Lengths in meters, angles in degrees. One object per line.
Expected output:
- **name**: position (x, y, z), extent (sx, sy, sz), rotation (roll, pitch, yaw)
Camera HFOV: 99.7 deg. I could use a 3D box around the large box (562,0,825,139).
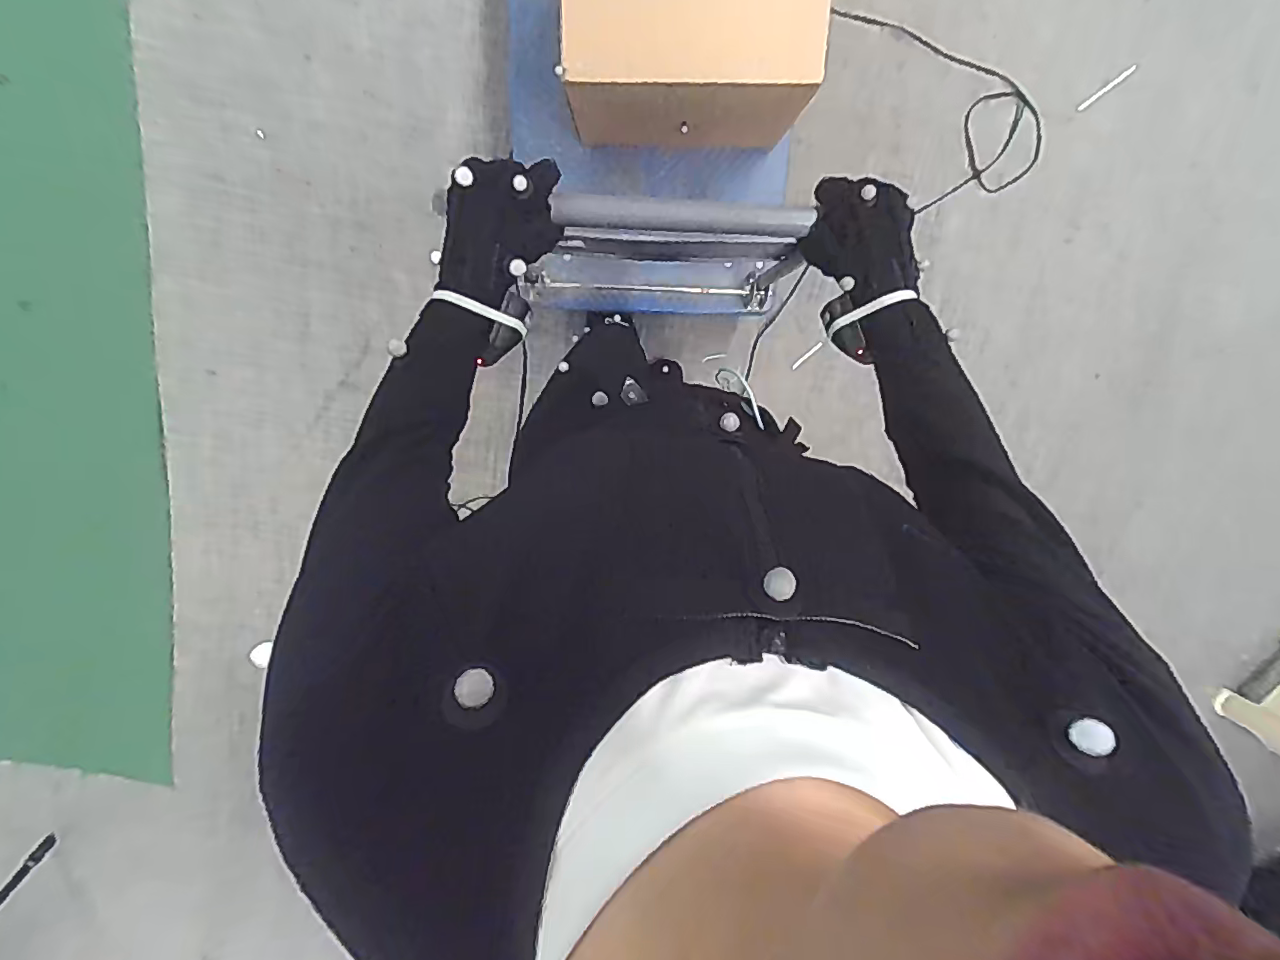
- **large box**: position (0.085, -0.812, 0.941), extent (0.408, 0.320, 0.320), rotation (1, 106, 1)
